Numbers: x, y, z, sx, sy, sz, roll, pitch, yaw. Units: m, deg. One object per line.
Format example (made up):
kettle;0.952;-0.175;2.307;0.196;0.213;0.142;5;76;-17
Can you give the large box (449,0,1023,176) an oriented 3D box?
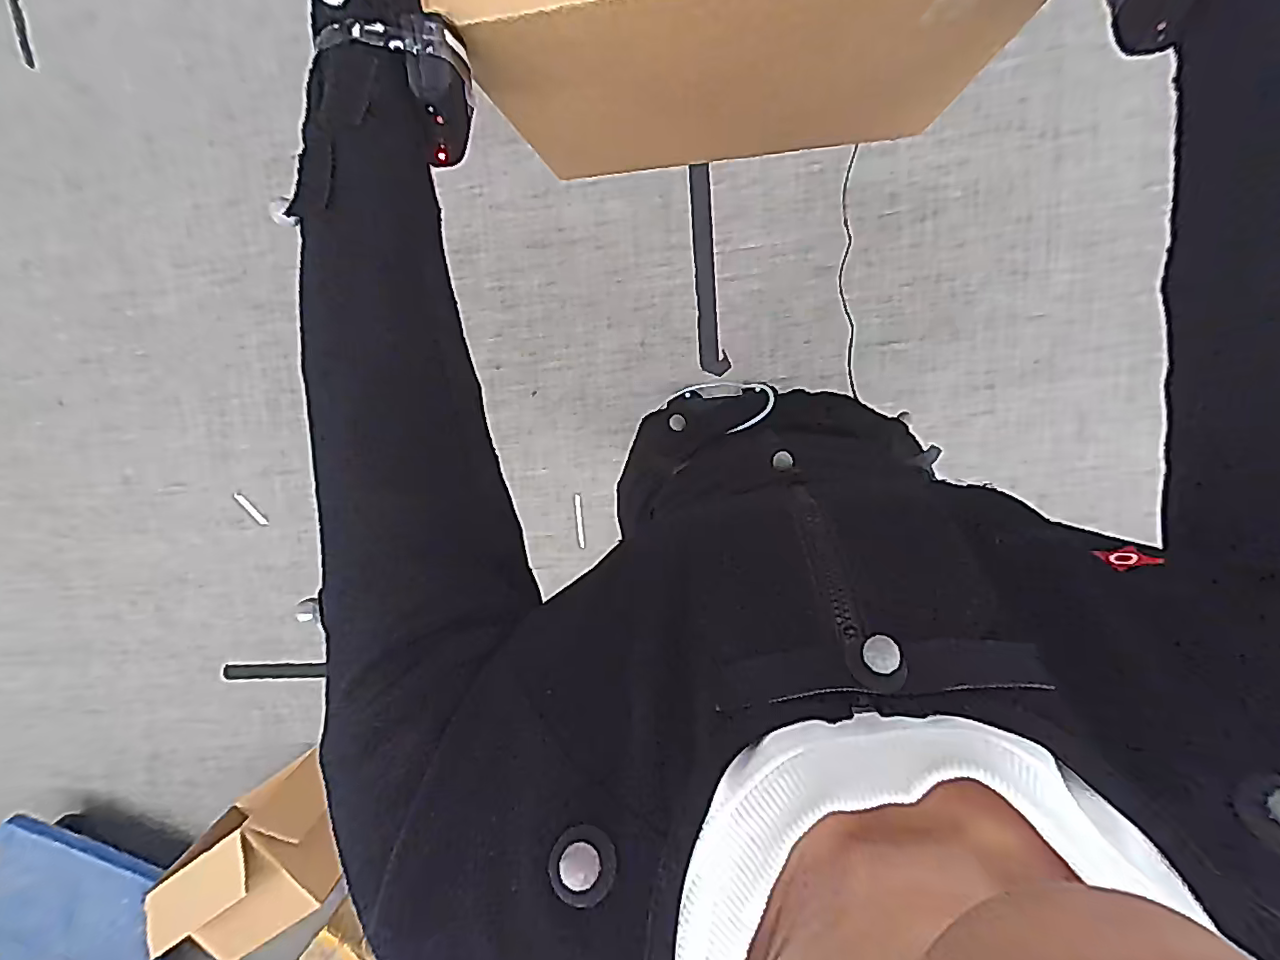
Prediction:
large box;0.073;-0.485;0.435;0.408;0.320;0.320;-4;103;7
